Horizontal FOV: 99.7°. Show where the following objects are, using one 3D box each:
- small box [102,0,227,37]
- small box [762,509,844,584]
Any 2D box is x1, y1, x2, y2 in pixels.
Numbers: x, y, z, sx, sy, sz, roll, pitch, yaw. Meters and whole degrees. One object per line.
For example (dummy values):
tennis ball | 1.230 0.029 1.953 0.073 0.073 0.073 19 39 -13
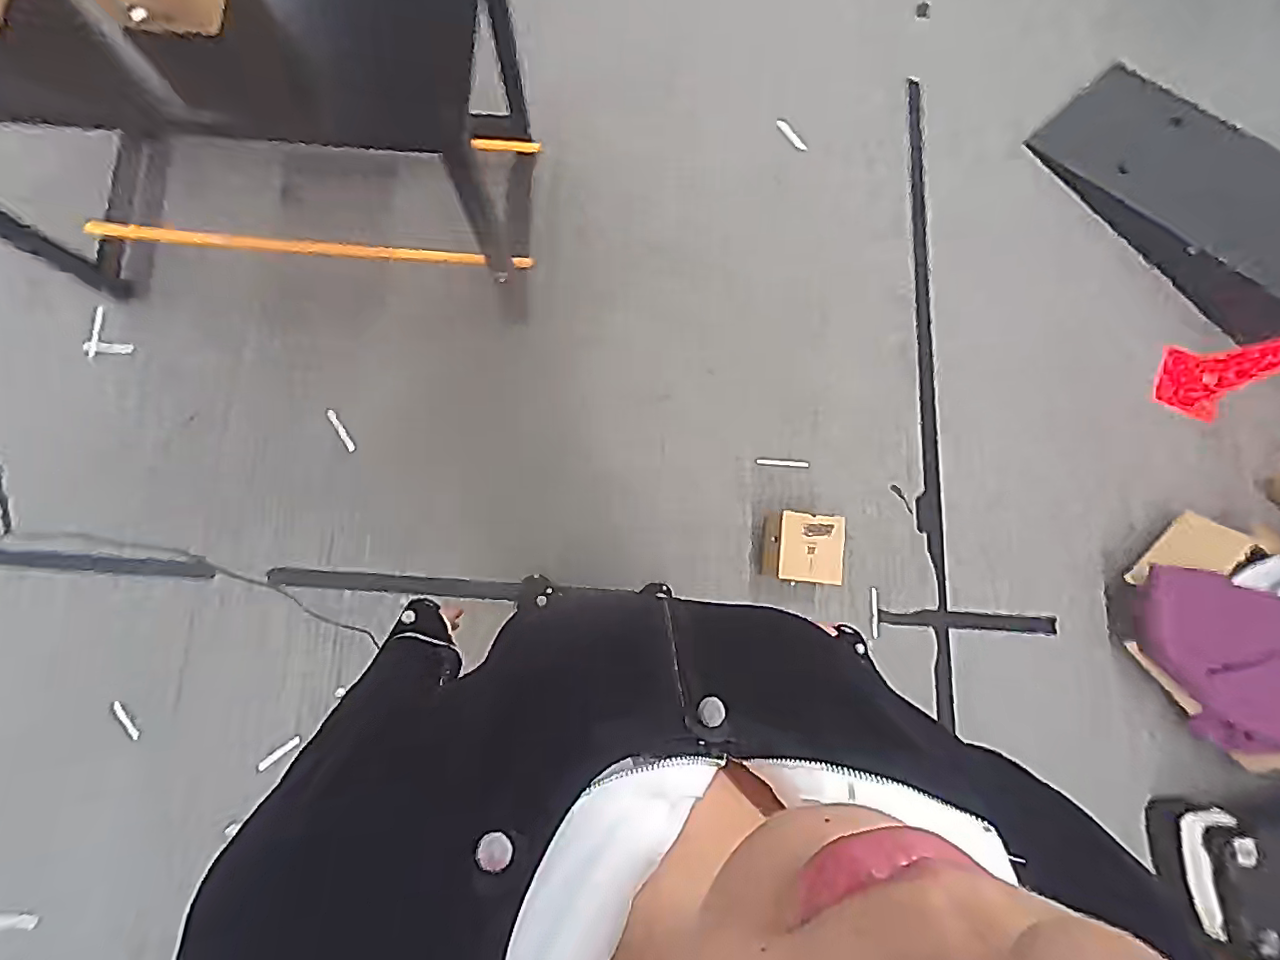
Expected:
small box | -0.765 -0.834 0.825 0.168 0.176 0.179 1 82 -2
small box | 0.436 0.182 1.465 0.168 0.176 0.179 7 81 -1
